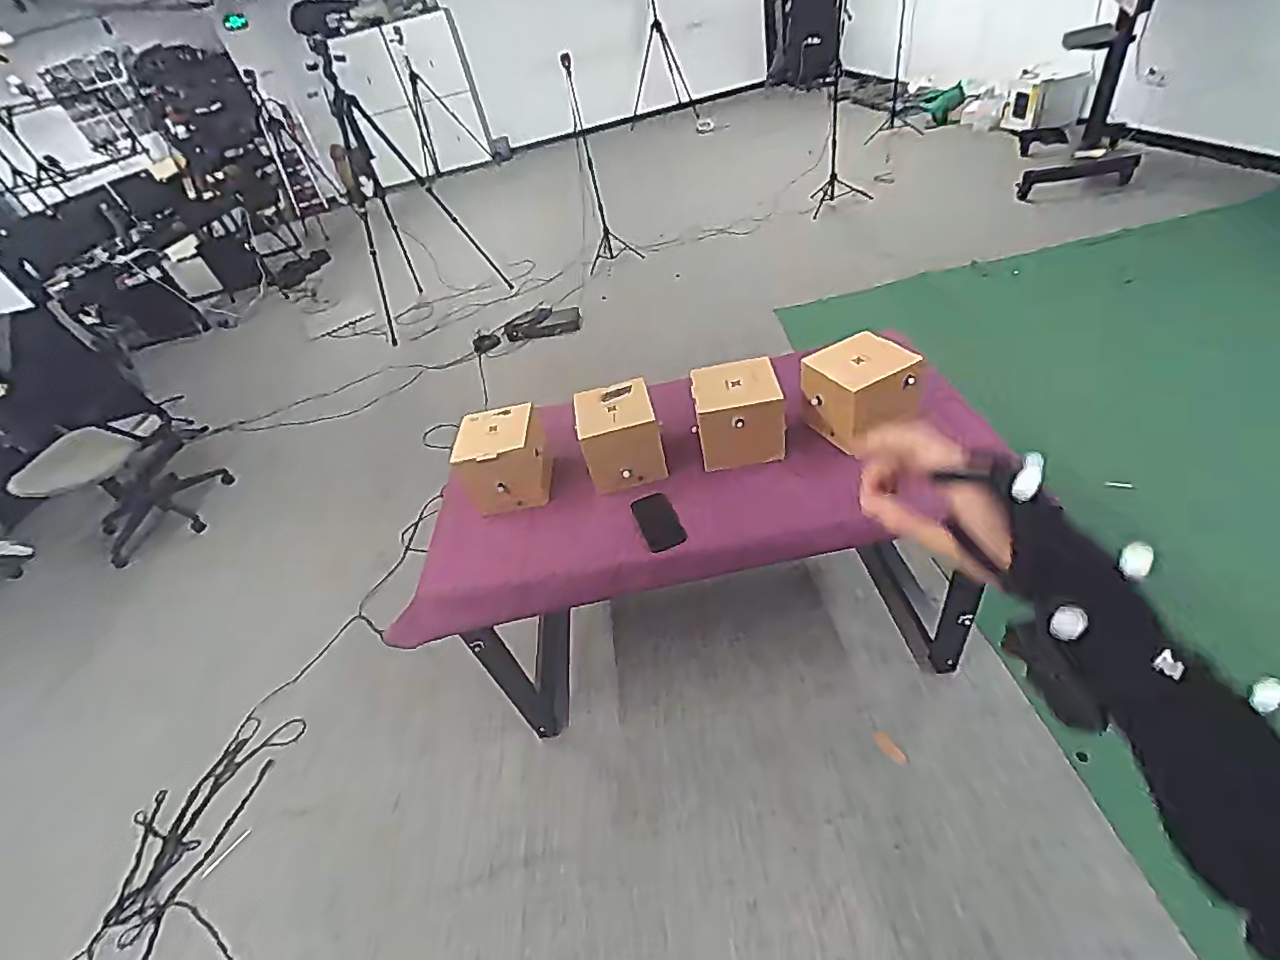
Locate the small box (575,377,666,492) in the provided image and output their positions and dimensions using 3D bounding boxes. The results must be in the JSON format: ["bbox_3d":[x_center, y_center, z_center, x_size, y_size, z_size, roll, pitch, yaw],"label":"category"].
[{"bbox_3d":[-0.044,-0.101,1.214,0.168,0.176,0.179,-14,42,2],"label":"small box"}]

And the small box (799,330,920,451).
[{"bbox_3d":[0.464,-0.189,1.157,0.179,0.176,0.168,-25,41,-11],"label":"small box"}]

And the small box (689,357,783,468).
[{"bbox_3d":[0.211,-0.144,1.186,0.179,0.176,0.168,-9,42,7],"label":"small box"}]

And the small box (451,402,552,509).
[{"bbox_3d":[-0.306,-0.048,1.236,0.168,0.176,0.179,-10,42,5],"label":"small box"}]
